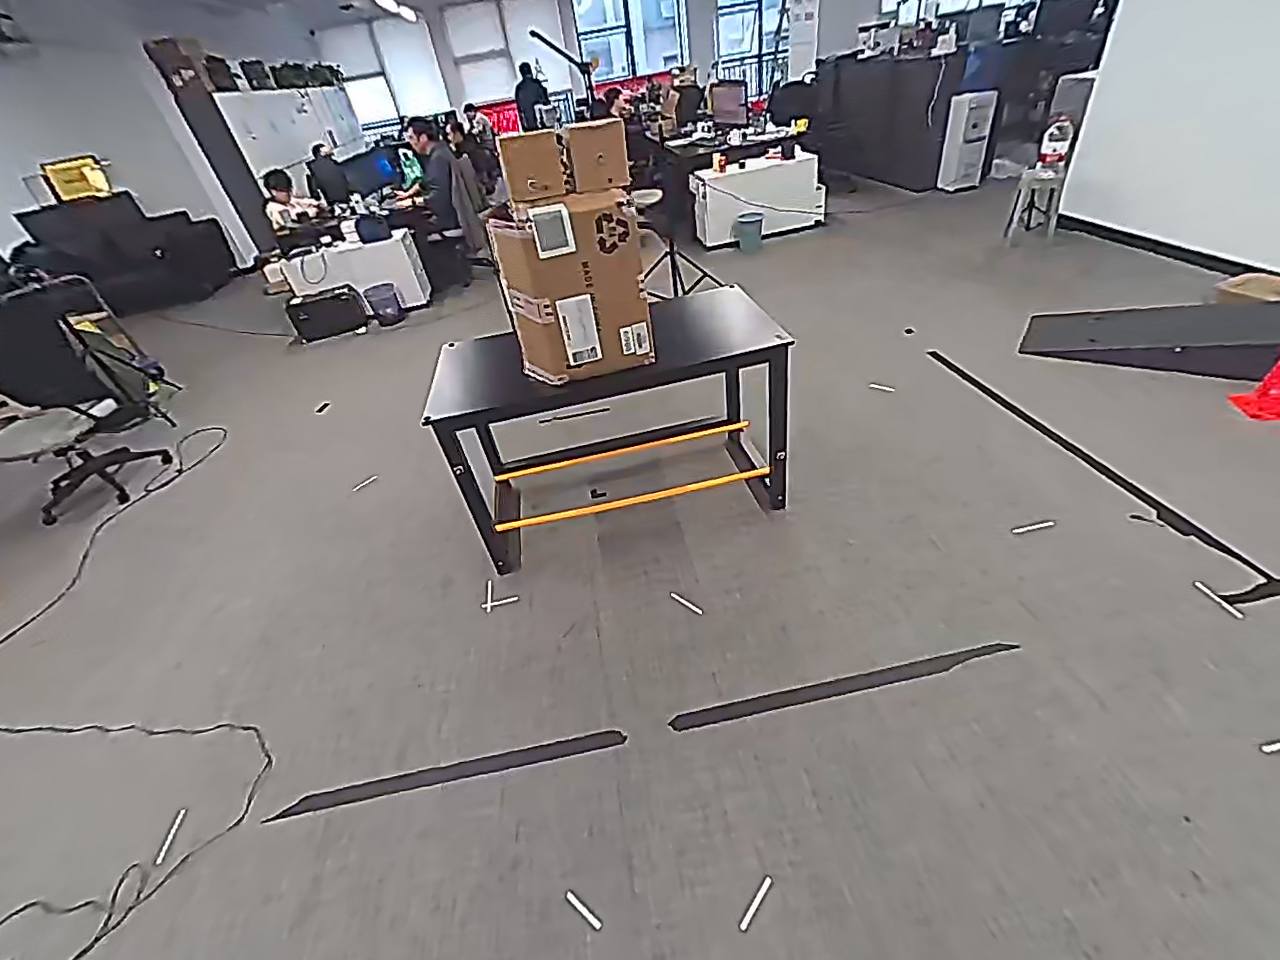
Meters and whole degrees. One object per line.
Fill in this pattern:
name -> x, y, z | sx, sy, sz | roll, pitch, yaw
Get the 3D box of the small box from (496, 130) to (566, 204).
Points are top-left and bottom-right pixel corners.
small box -> -0.333, -0.953, 1.647 | 0.168, 0.176, 0.179 | -16, 37, -9
